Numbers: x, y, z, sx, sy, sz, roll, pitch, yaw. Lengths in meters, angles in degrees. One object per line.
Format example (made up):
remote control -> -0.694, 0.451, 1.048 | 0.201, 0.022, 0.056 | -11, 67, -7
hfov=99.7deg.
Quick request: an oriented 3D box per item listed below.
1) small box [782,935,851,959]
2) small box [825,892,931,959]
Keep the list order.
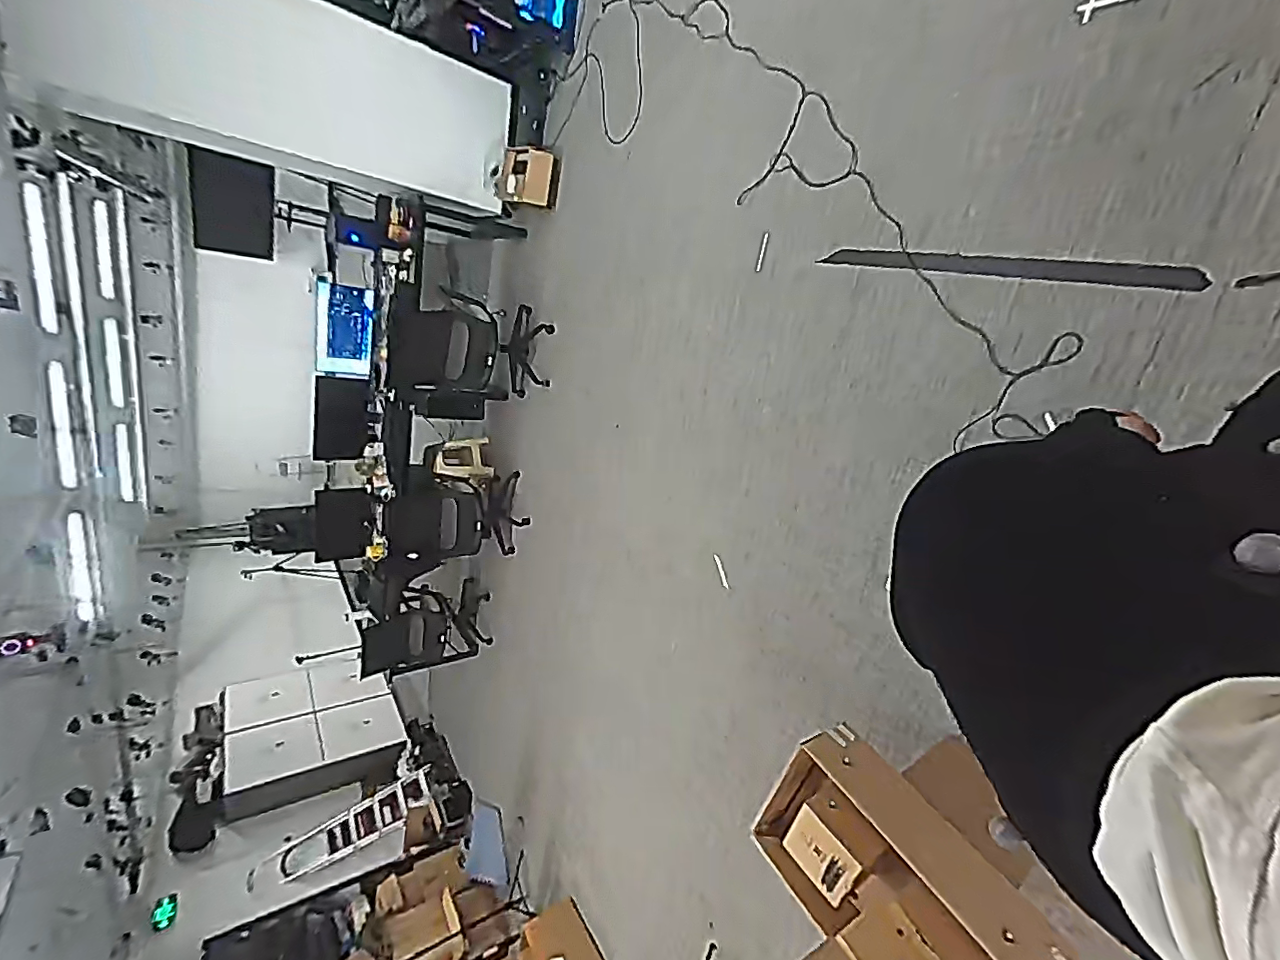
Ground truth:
small box -> 0.346, 1.035, 1.044 | 0.179, 0.176, 0.168 | 43, 127, 47
small box -> 0.484, 1.021, 1.132 | 0.168, 0.176, 0.179 | 44, 127, 46
